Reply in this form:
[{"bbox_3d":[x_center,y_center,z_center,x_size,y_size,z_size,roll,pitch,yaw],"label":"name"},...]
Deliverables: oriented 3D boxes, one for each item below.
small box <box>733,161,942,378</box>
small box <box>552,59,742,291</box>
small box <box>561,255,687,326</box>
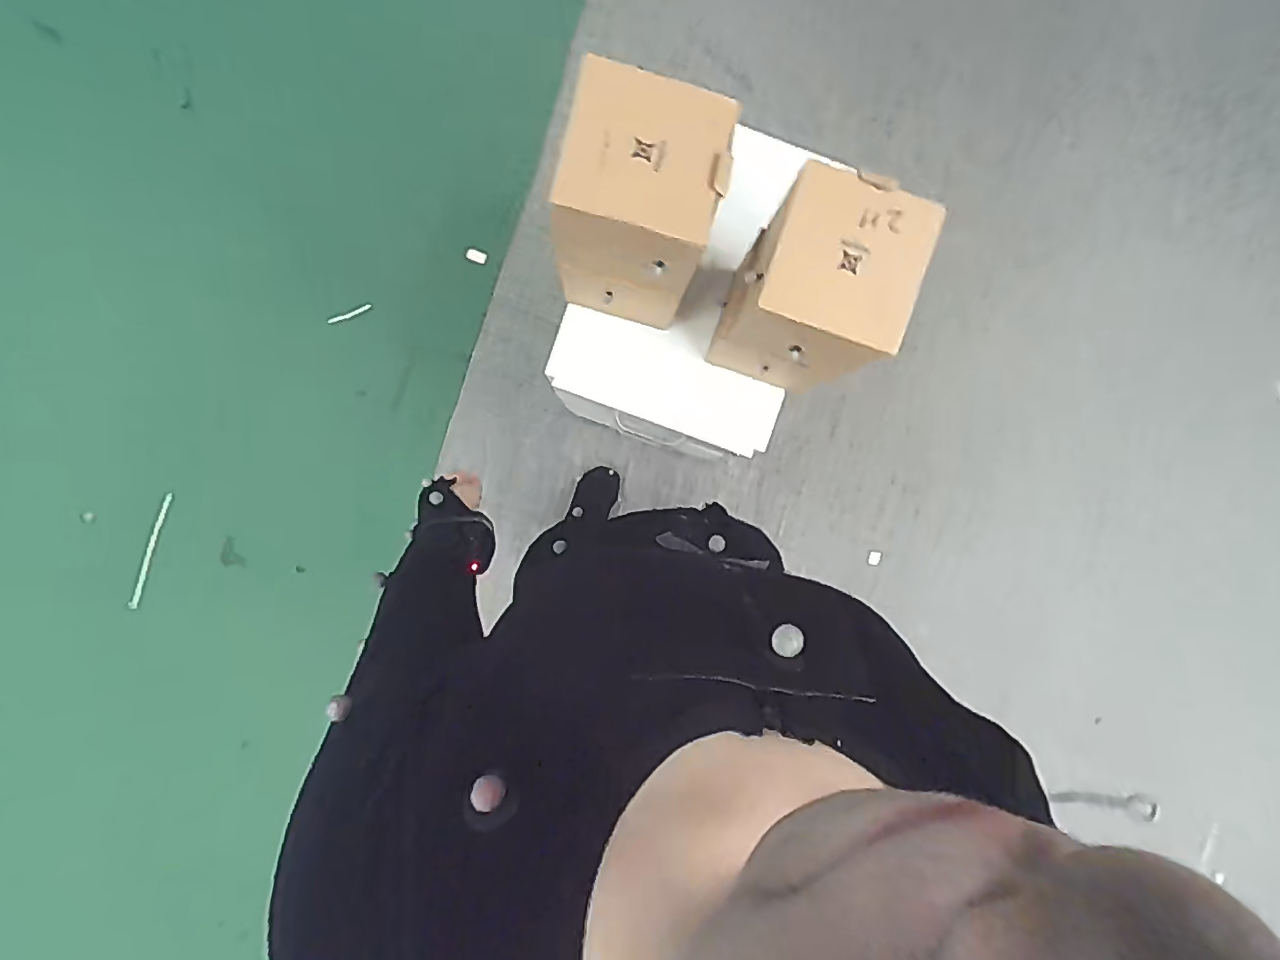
[{"bbox_3d":[0.227,-0.242,0.673,0.168,0.176,0.179,19,90,-3],"label":"small box"},{"bbox_3d":[0.003,-0.349,0.659,0.179,0.176,0.168,14,89,-4],"label":"small box"},{"bbox_3d":[-0.010,-0.350,0.823,0.179,0.176,0.168,15,90,-5],"label":"small box"}]
